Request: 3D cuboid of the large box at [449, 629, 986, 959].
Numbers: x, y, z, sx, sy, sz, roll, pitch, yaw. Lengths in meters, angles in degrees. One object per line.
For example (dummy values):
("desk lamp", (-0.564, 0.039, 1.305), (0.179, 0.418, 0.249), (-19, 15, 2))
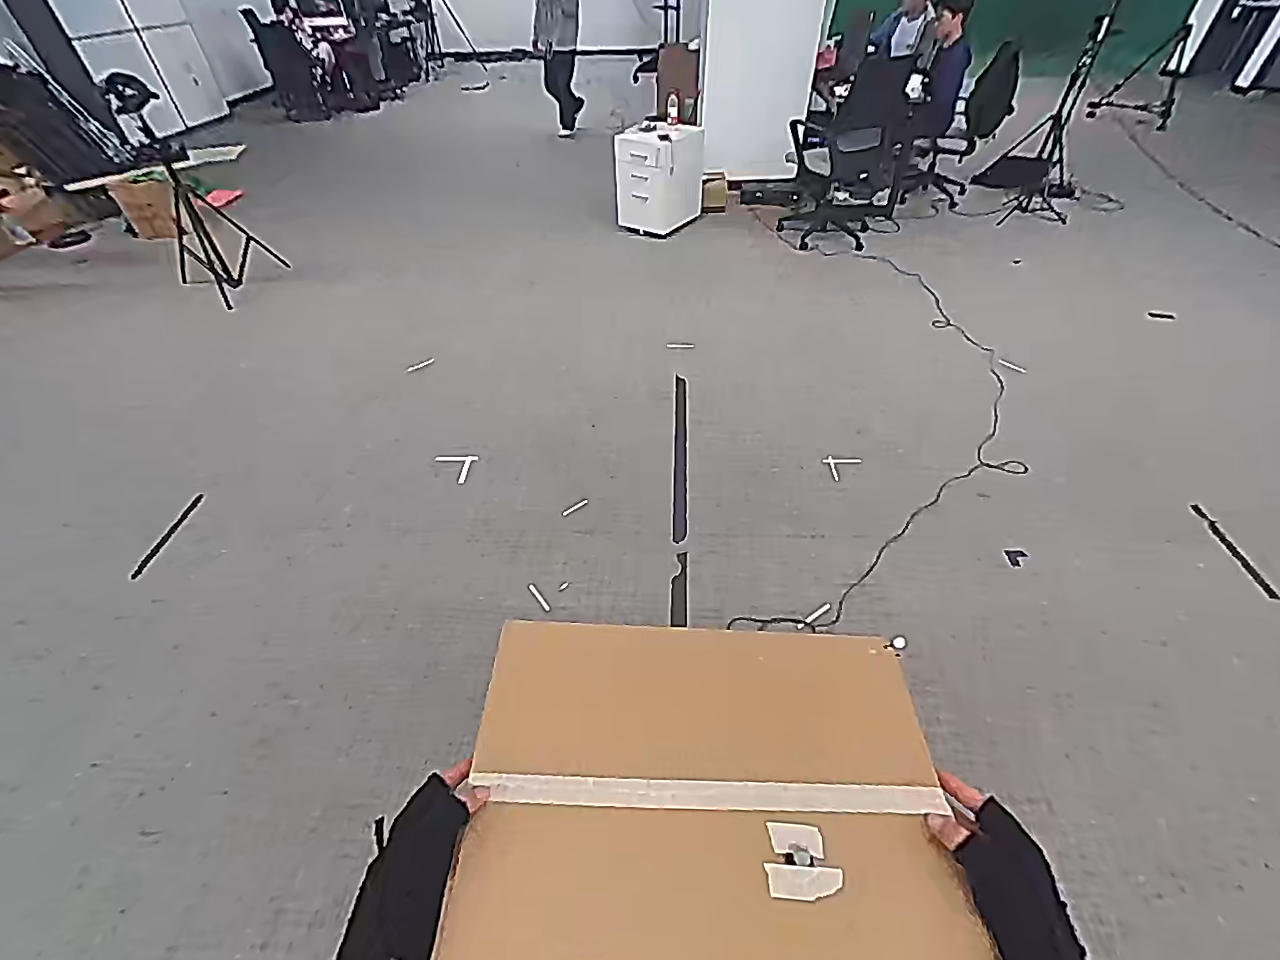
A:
("large box", (0.050, 0.378, 0.575), (0.408, 0.320, 0.320), (3, 46, -2))
